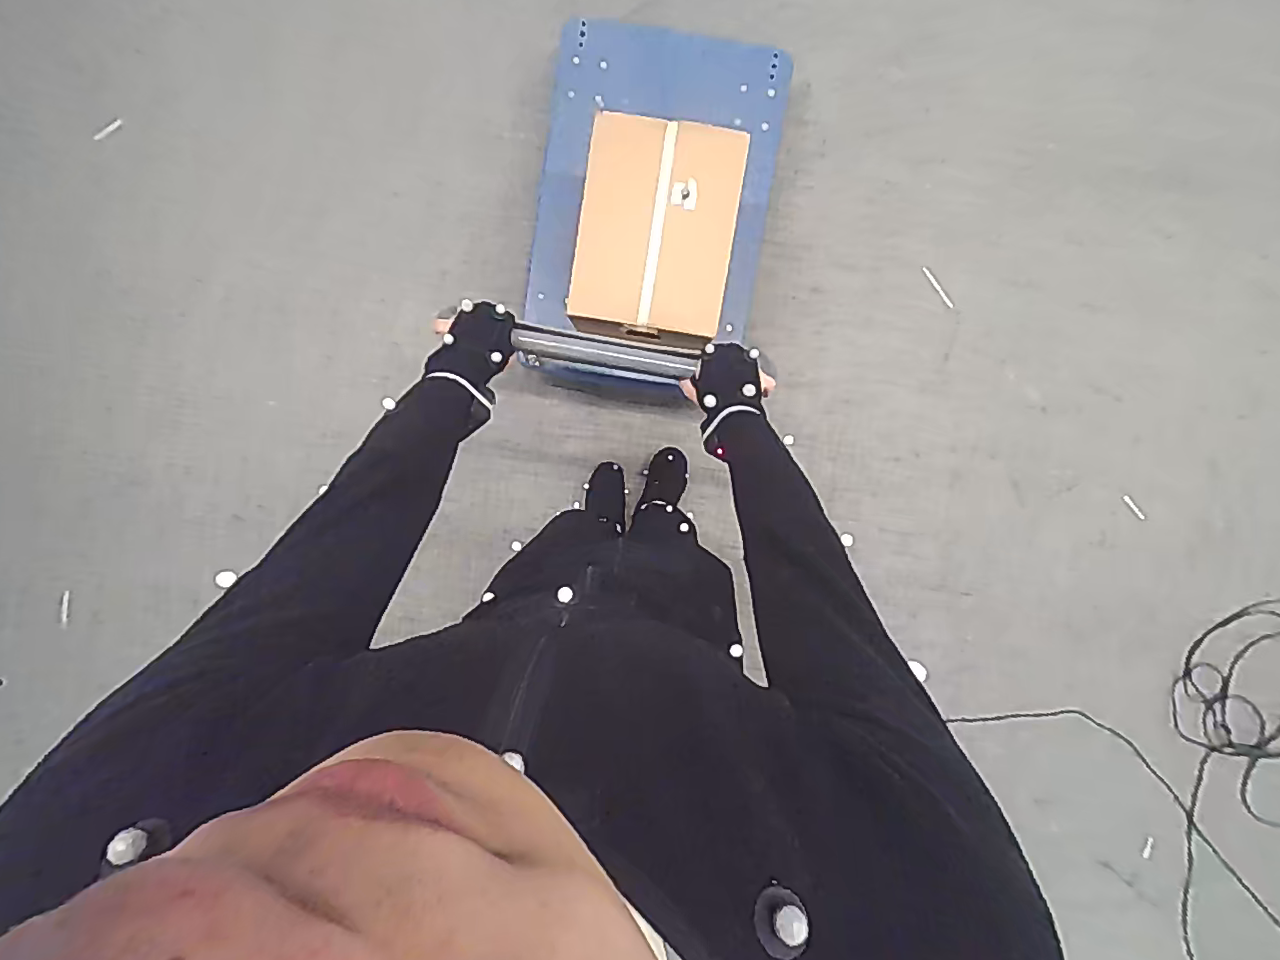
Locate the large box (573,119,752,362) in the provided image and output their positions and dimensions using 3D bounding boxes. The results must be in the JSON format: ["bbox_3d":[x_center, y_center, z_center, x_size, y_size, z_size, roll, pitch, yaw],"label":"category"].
[{"bbox_3d":[0.047,-0.505,1.225,0.320,0.320,0.408,9,94,0],"label":"large box"}]
